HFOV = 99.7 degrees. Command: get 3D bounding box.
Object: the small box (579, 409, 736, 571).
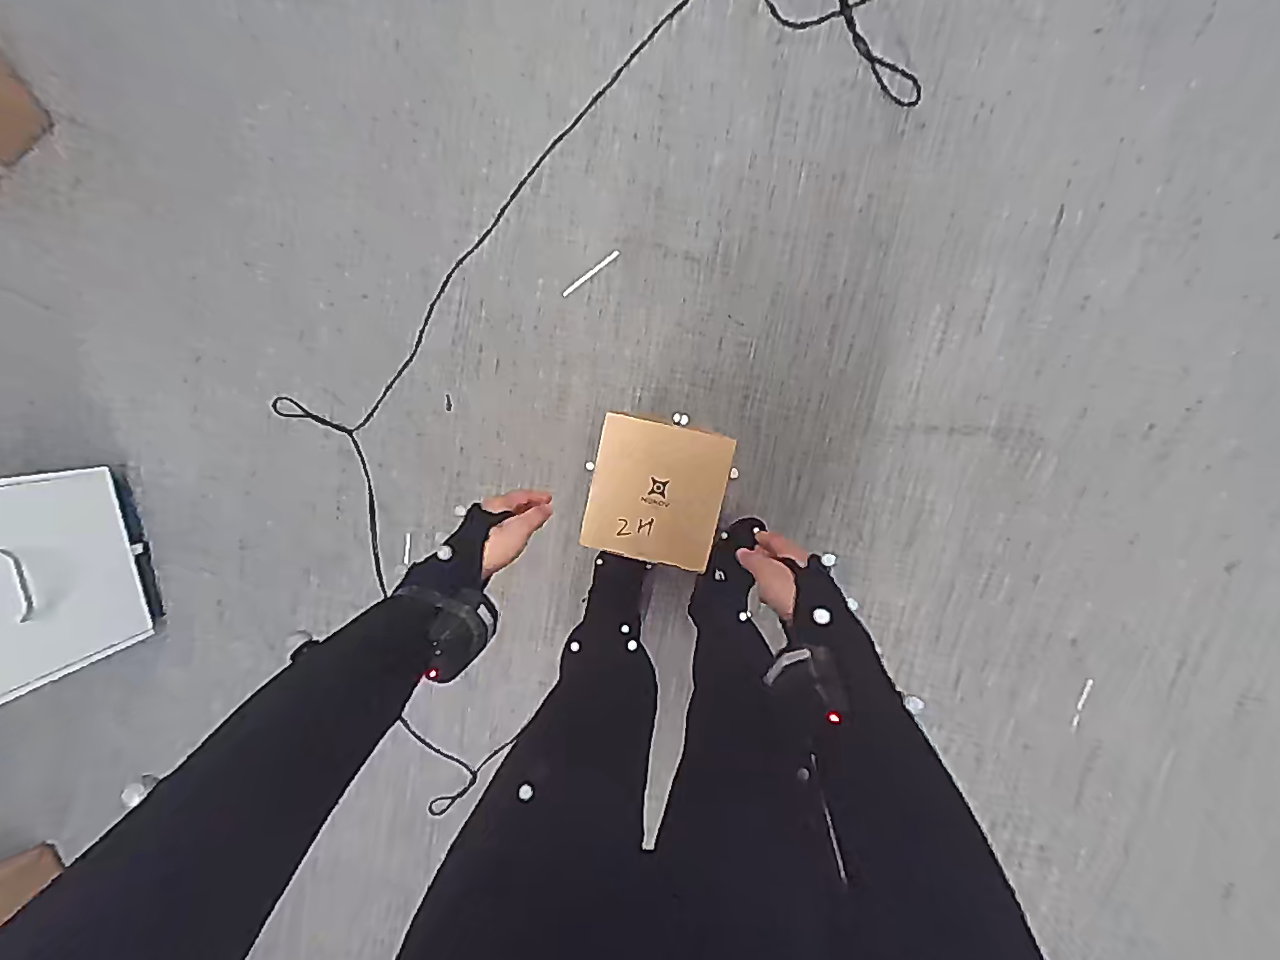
[{"bbox_3d":[0.025,0.004,0.750,0.168,0.176,0.179,13,98,2],"label":"small box"}]
